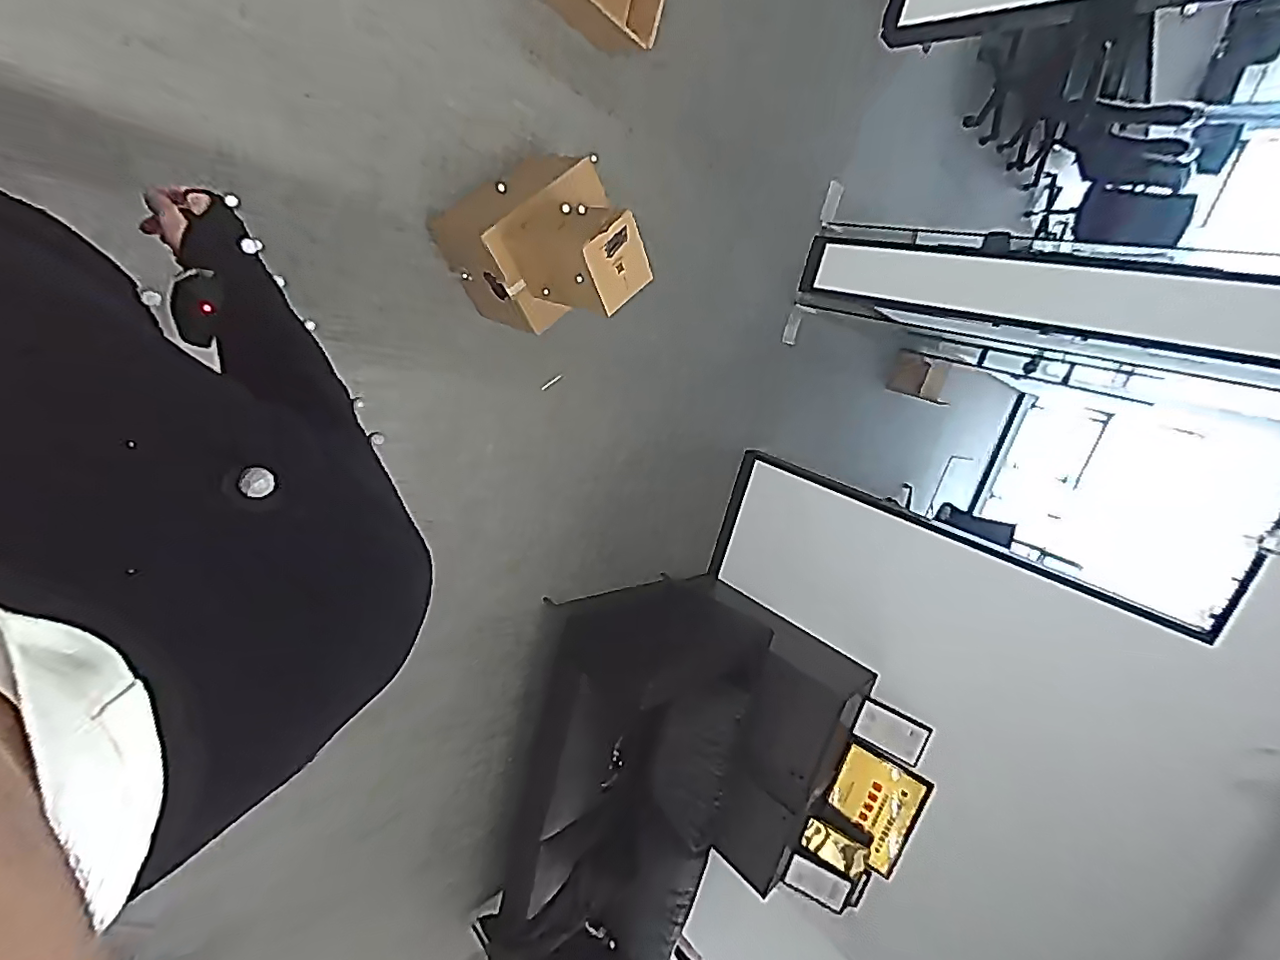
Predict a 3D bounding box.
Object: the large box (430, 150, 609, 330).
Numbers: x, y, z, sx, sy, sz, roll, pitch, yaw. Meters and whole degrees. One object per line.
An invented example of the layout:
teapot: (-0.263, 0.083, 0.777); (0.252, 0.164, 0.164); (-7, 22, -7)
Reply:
large box: (-0.322, -0.709, 1.594); (0.408, 0.320, 0.320); (-48, 140, -18)

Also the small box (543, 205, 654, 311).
small box: (-0.099, -0.532, 1.288); (0.168, 0.176, 0.179); (-46, 139, -19)
